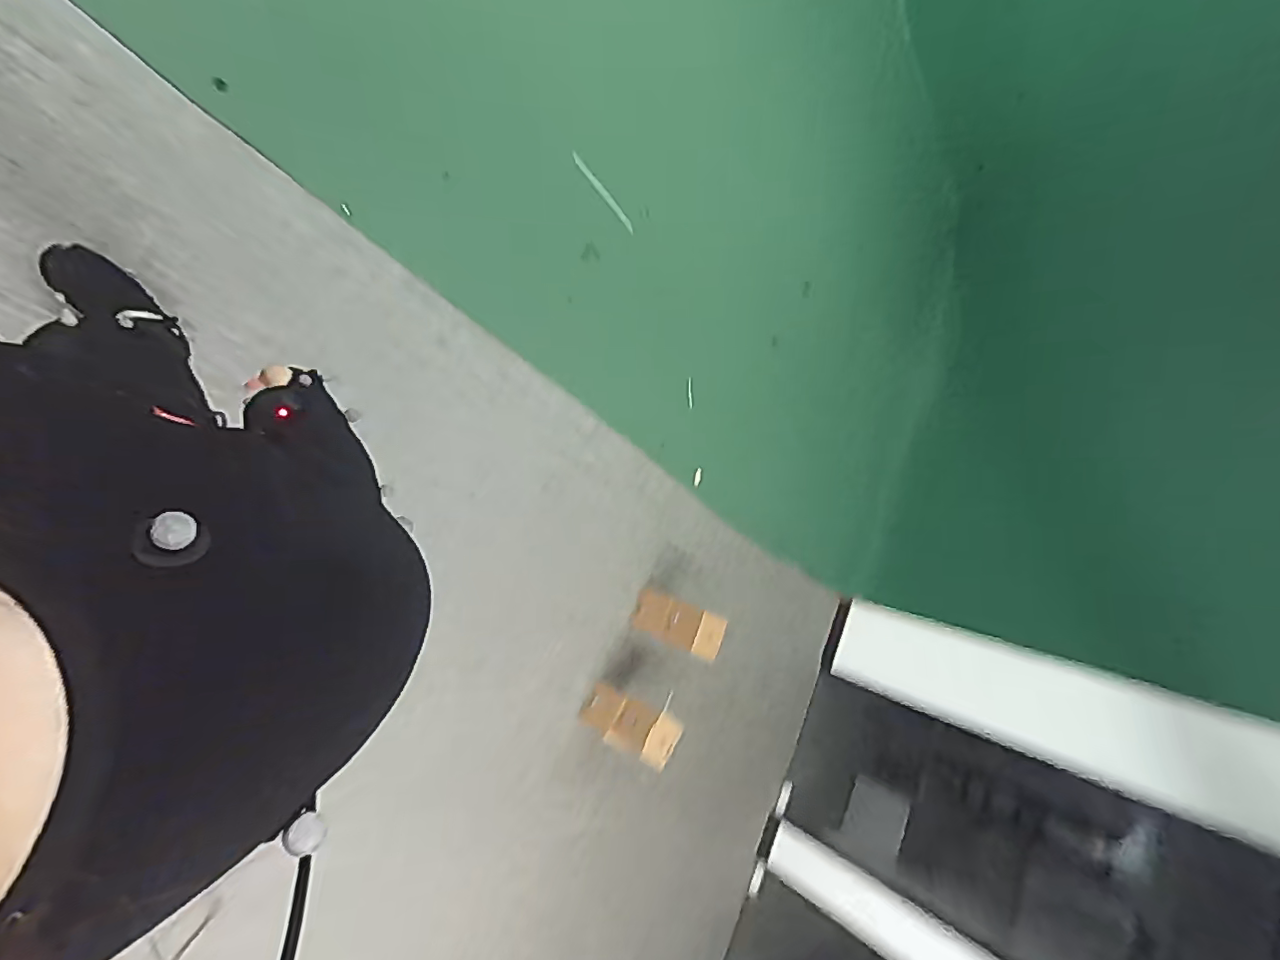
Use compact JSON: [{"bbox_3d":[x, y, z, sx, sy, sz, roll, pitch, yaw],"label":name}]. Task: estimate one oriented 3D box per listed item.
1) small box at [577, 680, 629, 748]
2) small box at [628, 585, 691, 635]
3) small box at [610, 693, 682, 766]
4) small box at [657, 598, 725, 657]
[{"bbox_3d":[-0.111,0.907,2.107,0.179,0.176,0.168,48,65,-39],"label":"small box"},{"bbox_3d":[0.085,0.547,2.231,0.179,0.176,0.168,30,77,-44],"label":"small box"},{"bbox_3d":[0.018,0.919,2.006,0.168,0.176,0.179,-56,130,-22],"label":"small box"},{"bbox_3d":[0.199,0.577,2.121,0.179,0.176,0.168,31,76,-44],"label":"small box"}]
